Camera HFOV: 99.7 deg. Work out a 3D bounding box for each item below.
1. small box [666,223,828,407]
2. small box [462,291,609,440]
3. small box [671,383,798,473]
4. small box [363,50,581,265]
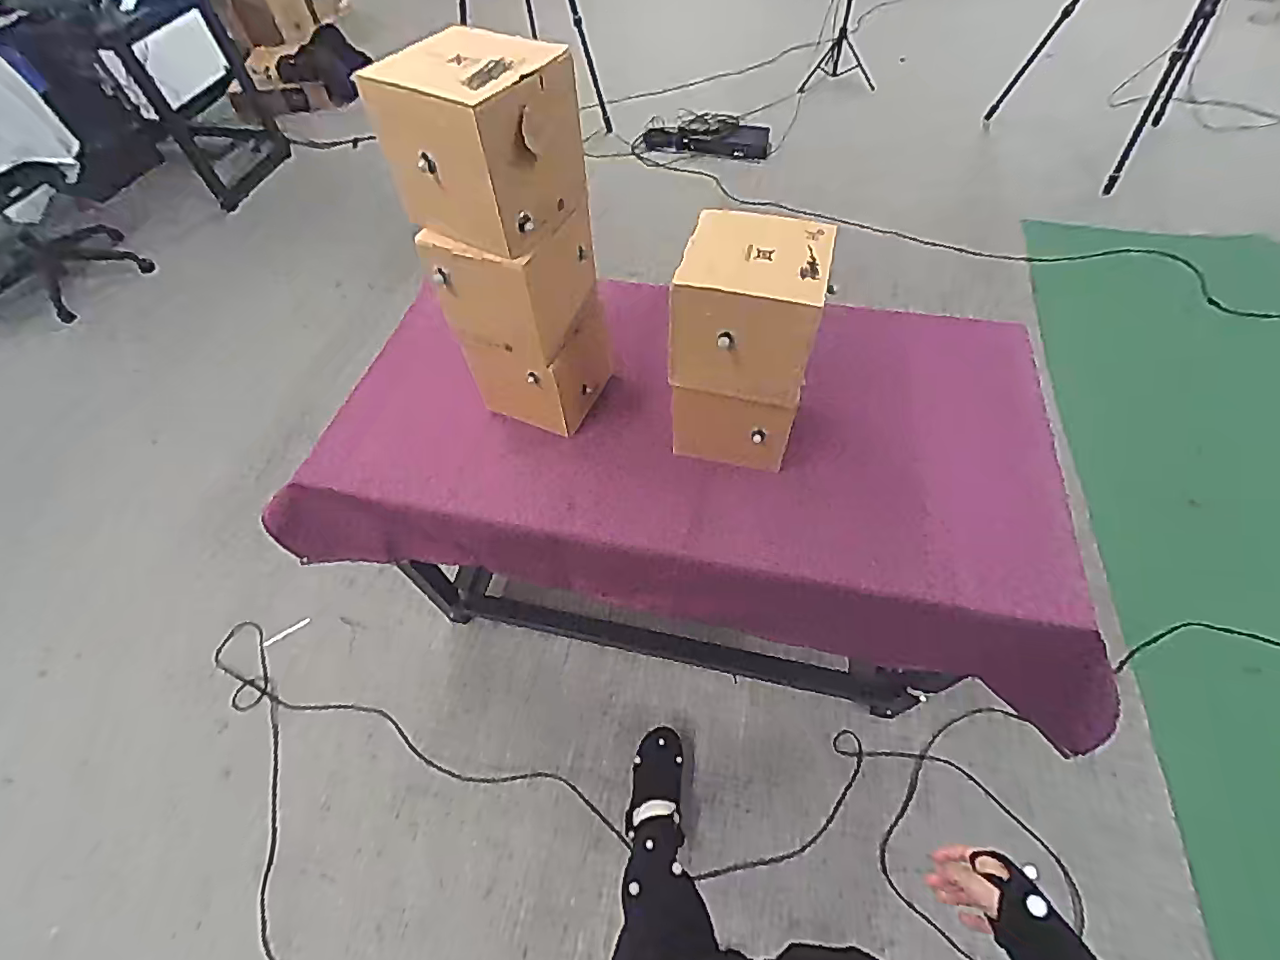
[{"bbox_3d":[0.140,-0.219,0.734,0.179,0.176,0.168,12,57,12],"label":"small box"},{"bbox_3d":[-0.169,-0.194,0.934,0.179,0.176,0.168,19,58,15],"label":"small box"},{"bbox_3d":[0.152,-0.130,0.871,0.179,0.176,0.168,10,56,11],"label":"small box"},{"bbox_3d":[-0.191,-0.397,0.675,0.179,0.176,0.168,25,59,19],"label":"small box"}]
